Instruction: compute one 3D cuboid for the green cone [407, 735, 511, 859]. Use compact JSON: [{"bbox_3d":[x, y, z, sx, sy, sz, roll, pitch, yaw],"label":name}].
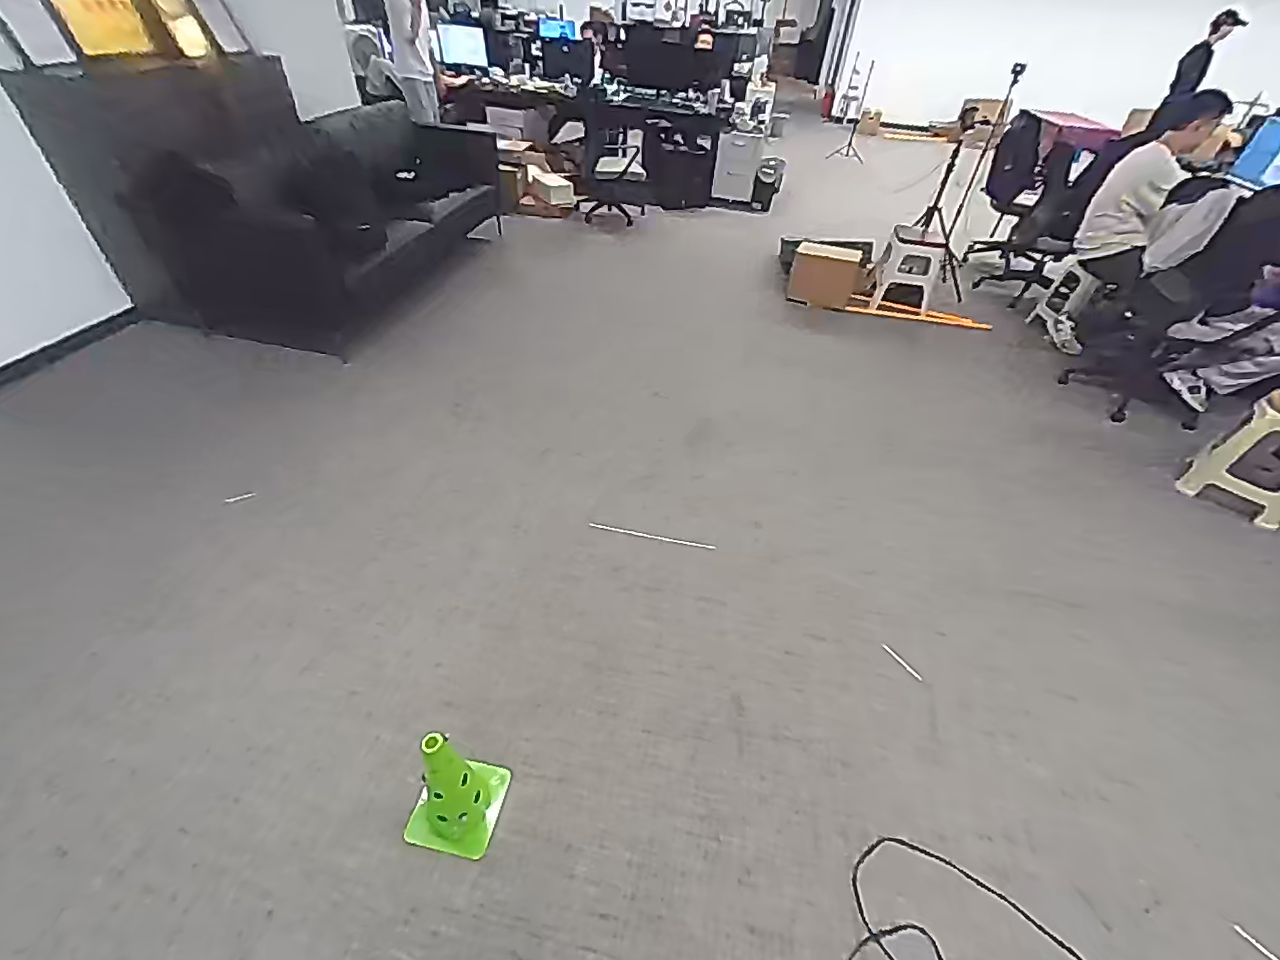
[{"bbox_3d":[-0.424,0.666,1.204,0.202,0.368,0.200,10,43,5],"label":"green cone"}]
